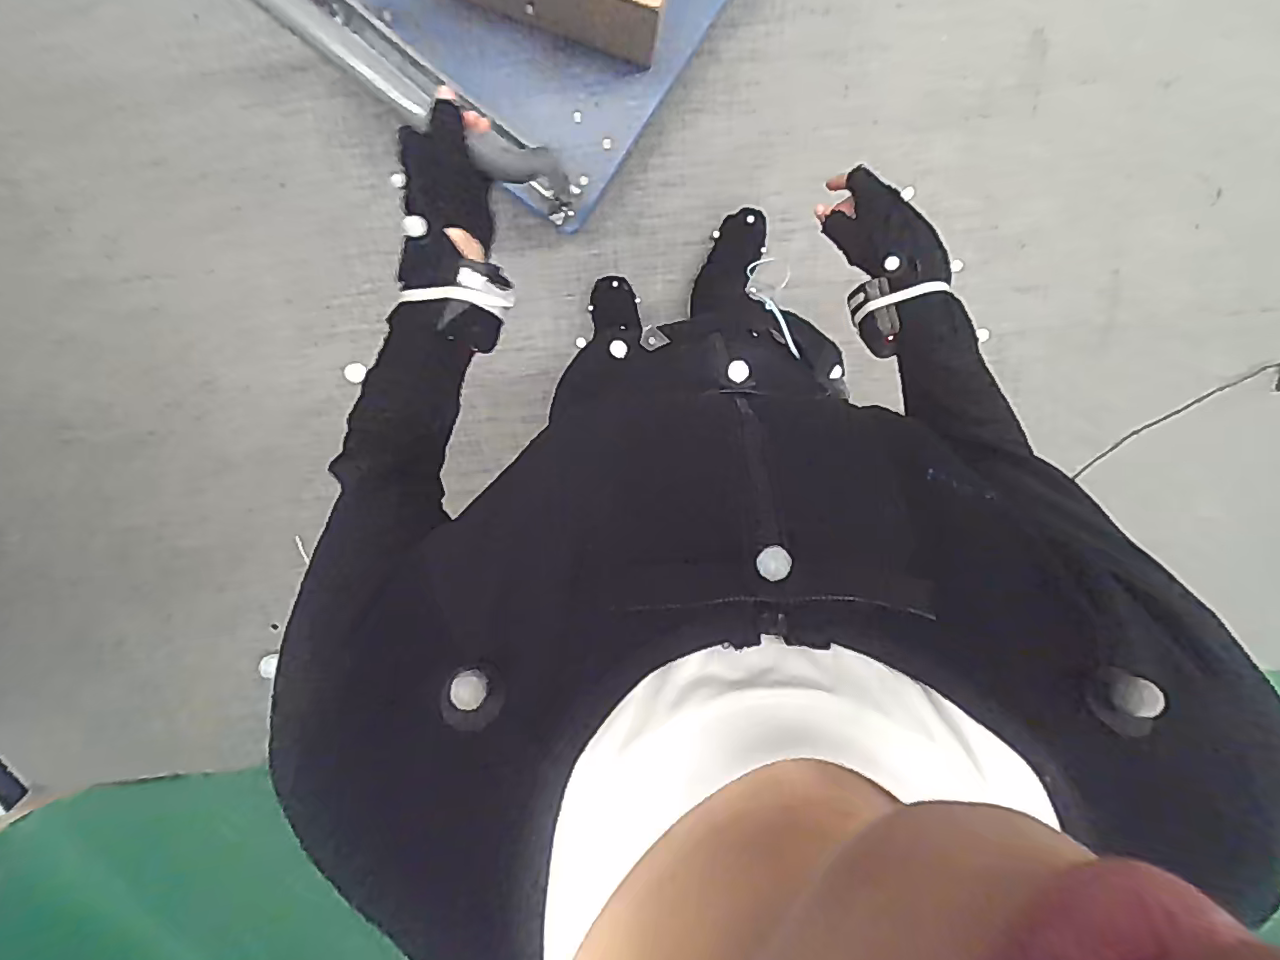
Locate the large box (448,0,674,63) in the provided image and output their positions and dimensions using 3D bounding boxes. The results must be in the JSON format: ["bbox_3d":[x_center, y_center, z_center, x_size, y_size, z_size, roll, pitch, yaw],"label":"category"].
[{"bbox_3d":[-0.122,-0.875,0.783,0.408,0.320,0.320,13,114,-6],"label":"large box"}]
